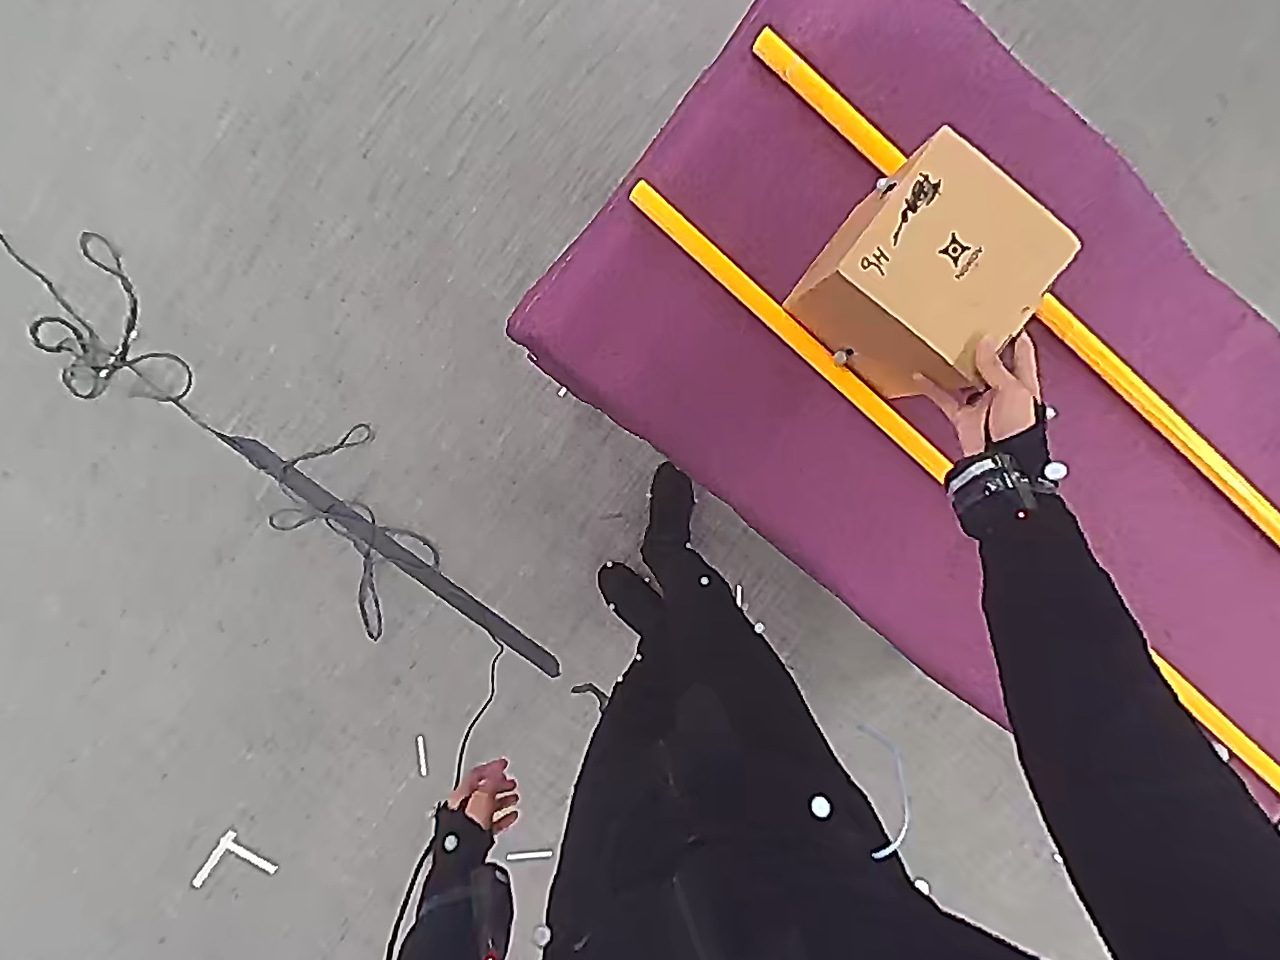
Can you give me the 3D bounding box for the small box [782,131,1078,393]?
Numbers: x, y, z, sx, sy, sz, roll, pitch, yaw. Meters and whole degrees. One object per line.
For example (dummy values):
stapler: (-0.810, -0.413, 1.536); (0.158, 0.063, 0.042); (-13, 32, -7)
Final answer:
small box: (0.286, -0.207, 0.573); (0.179, 0.176, 0.168); (37, 91, -6)
